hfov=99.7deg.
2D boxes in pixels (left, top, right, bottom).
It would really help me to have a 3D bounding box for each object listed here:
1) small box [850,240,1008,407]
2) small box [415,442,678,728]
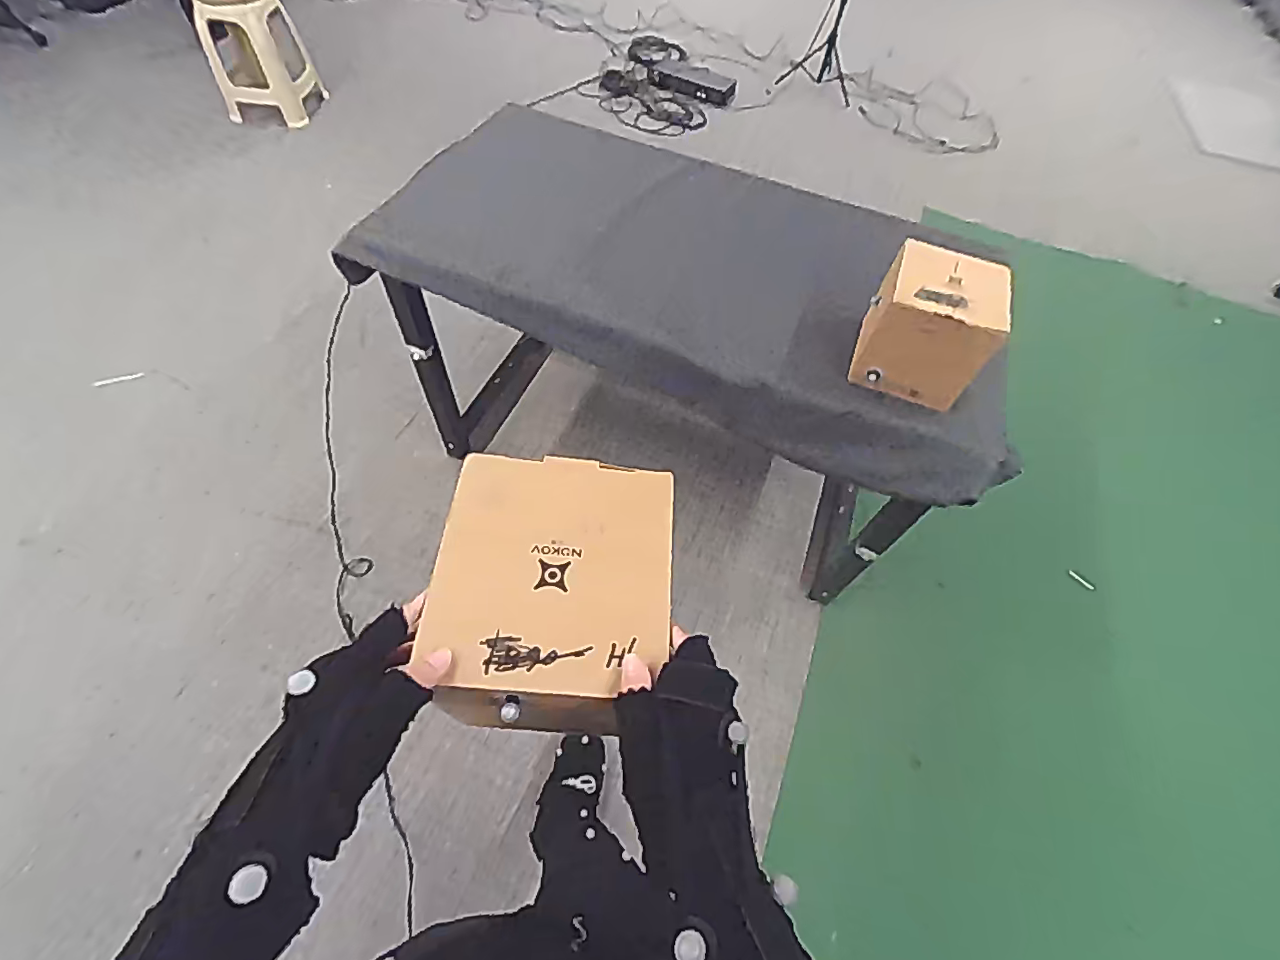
[{"bbox_3d":[0.459,-0.247,0.876,0.168,0.176,0.179,22,57,8],"label":"small box"},{"bbox_3d":[-0.064,0.094,0.452,0.168,0.176,0.179,6,57,-3],"label":"small box"}]
